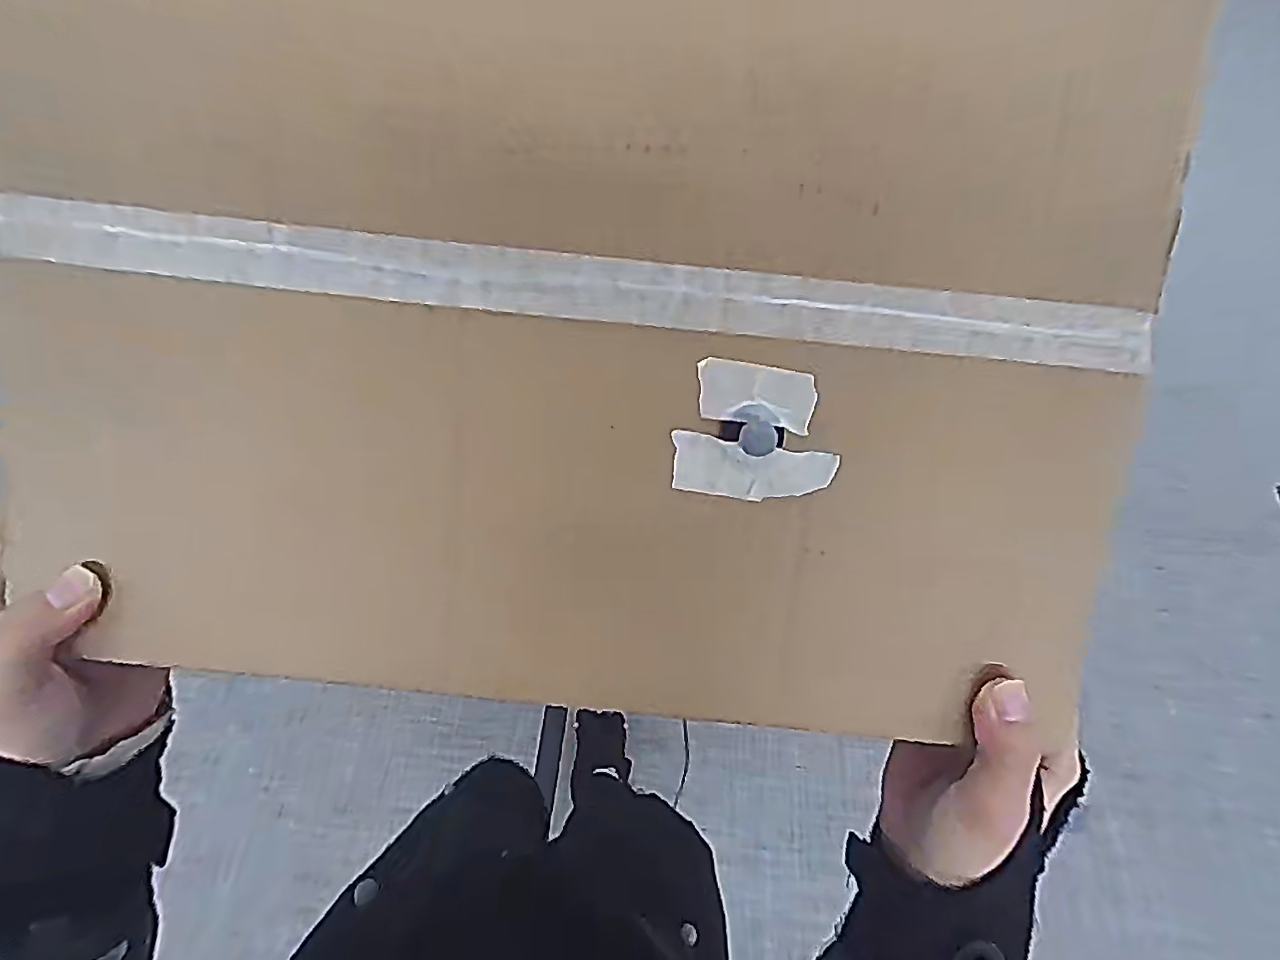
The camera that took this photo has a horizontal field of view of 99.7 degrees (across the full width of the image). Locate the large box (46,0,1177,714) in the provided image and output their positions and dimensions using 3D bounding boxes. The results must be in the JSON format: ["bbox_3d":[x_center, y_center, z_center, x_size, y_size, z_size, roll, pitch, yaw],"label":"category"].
[{"bbox_3d":[-0.020,-0.085,0.350,0.408,0.320,0.320,6,97,-1],"label":"large box"}]
